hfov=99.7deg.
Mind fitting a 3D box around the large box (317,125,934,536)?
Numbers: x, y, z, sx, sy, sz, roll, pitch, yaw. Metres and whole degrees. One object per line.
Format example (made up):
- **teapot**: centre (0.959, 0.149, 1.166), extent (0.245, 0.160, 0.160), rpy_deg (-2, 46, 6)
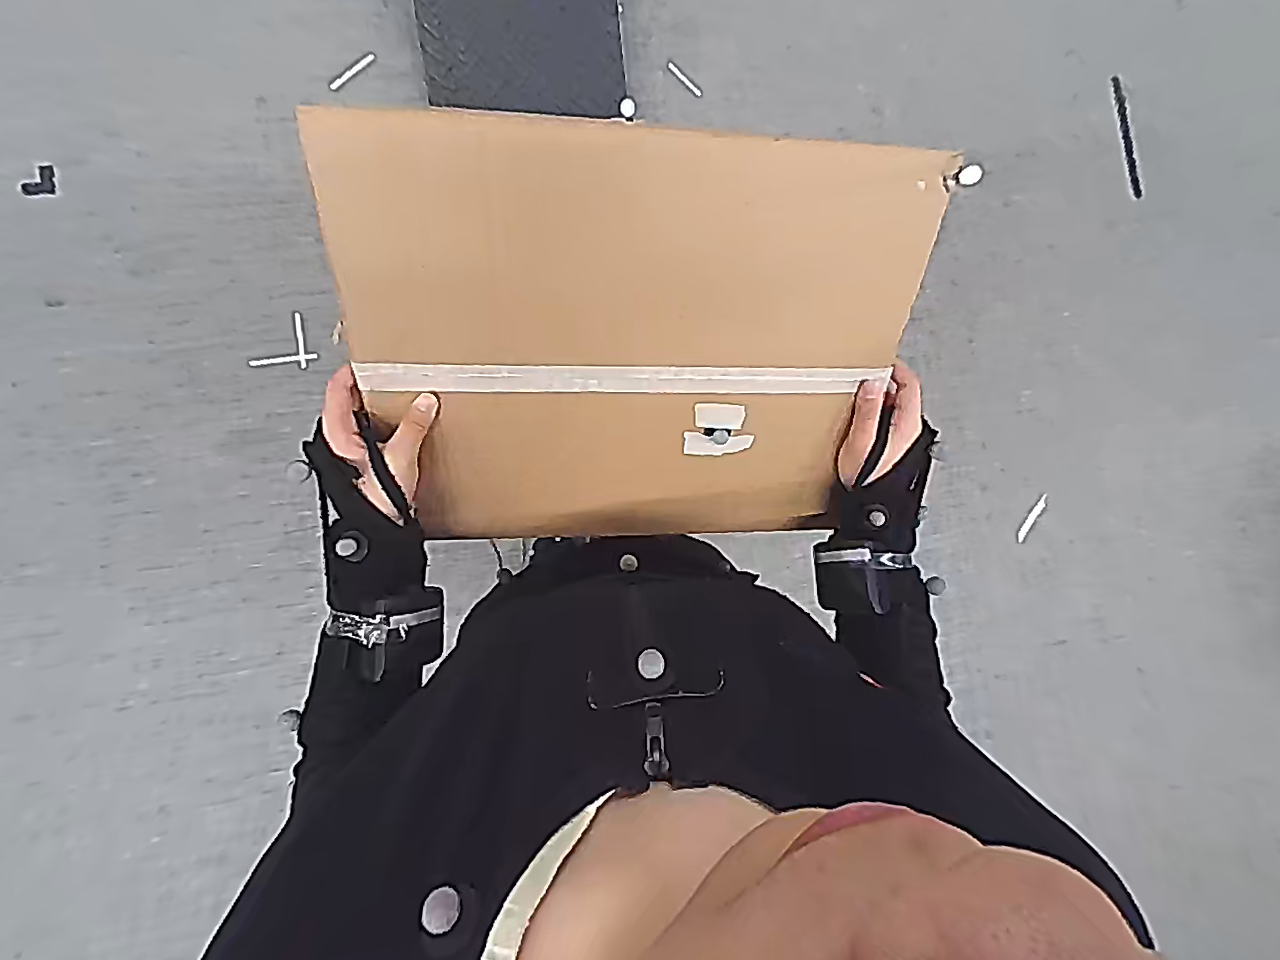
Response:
- **large box**: centre (-0.022, -0.168, 0.545), extent (0.408, 0.320, 0.320), rpy_deg (-2, 126, -8)
